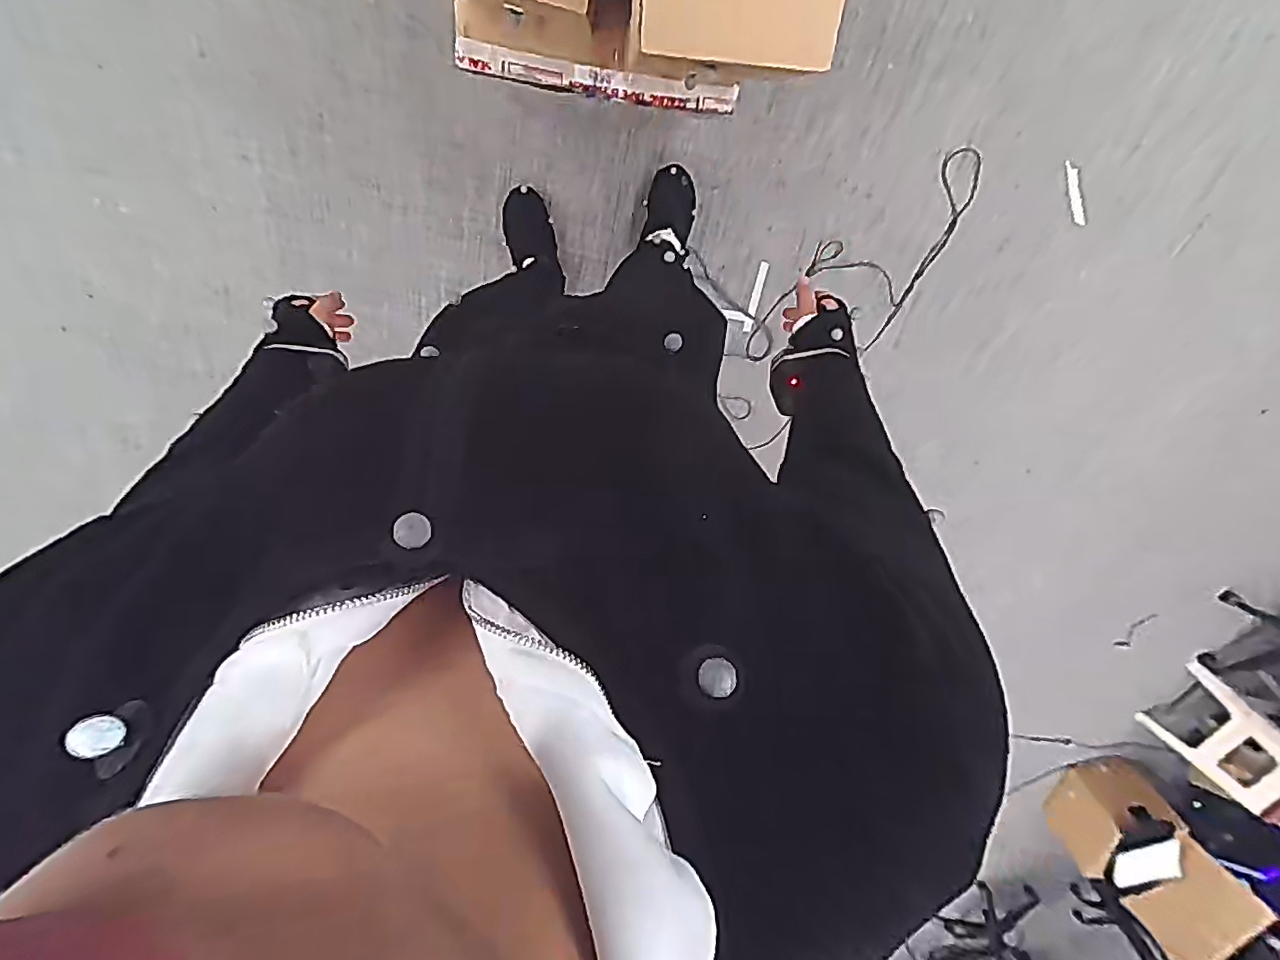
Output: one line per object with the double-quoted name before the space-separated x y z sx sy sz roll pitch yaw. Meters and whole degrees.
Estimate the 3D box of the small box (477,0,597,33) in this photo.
"small box" -0.122 -0.631 0.596 0.168 0.176 0.179 9 124 -8

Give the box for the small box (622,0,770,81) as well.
"small box" 0.074 -0.585 0.643 0.179 0.176 0.168 2 124 -5

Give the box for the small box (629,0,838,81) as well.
"small box" 0.083 -0.487 0.508 0.179 0.176 0.168 1 125 -6
